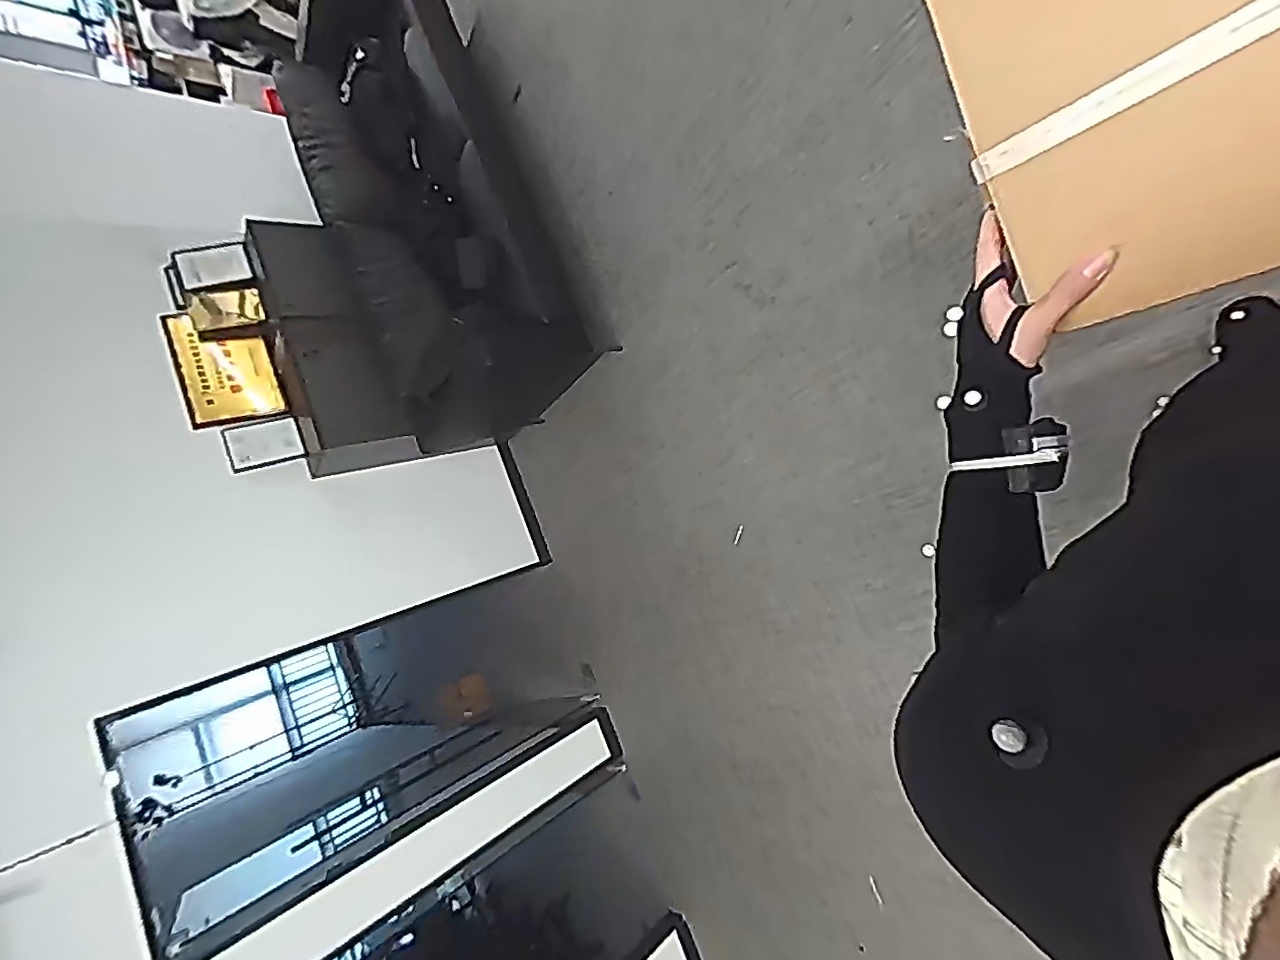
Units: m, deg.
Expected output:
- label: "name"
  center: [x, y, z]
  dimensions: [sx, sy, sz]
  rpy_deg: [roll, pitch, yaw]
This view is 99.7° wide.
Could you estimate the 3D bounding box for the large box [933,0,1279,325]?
- label: "large box"
  center: [0.517, -0.368, 0.411]
  dimensions: [0.408, 0.320, 0.320]
  rpy_deg: [-17, 102, 47]
